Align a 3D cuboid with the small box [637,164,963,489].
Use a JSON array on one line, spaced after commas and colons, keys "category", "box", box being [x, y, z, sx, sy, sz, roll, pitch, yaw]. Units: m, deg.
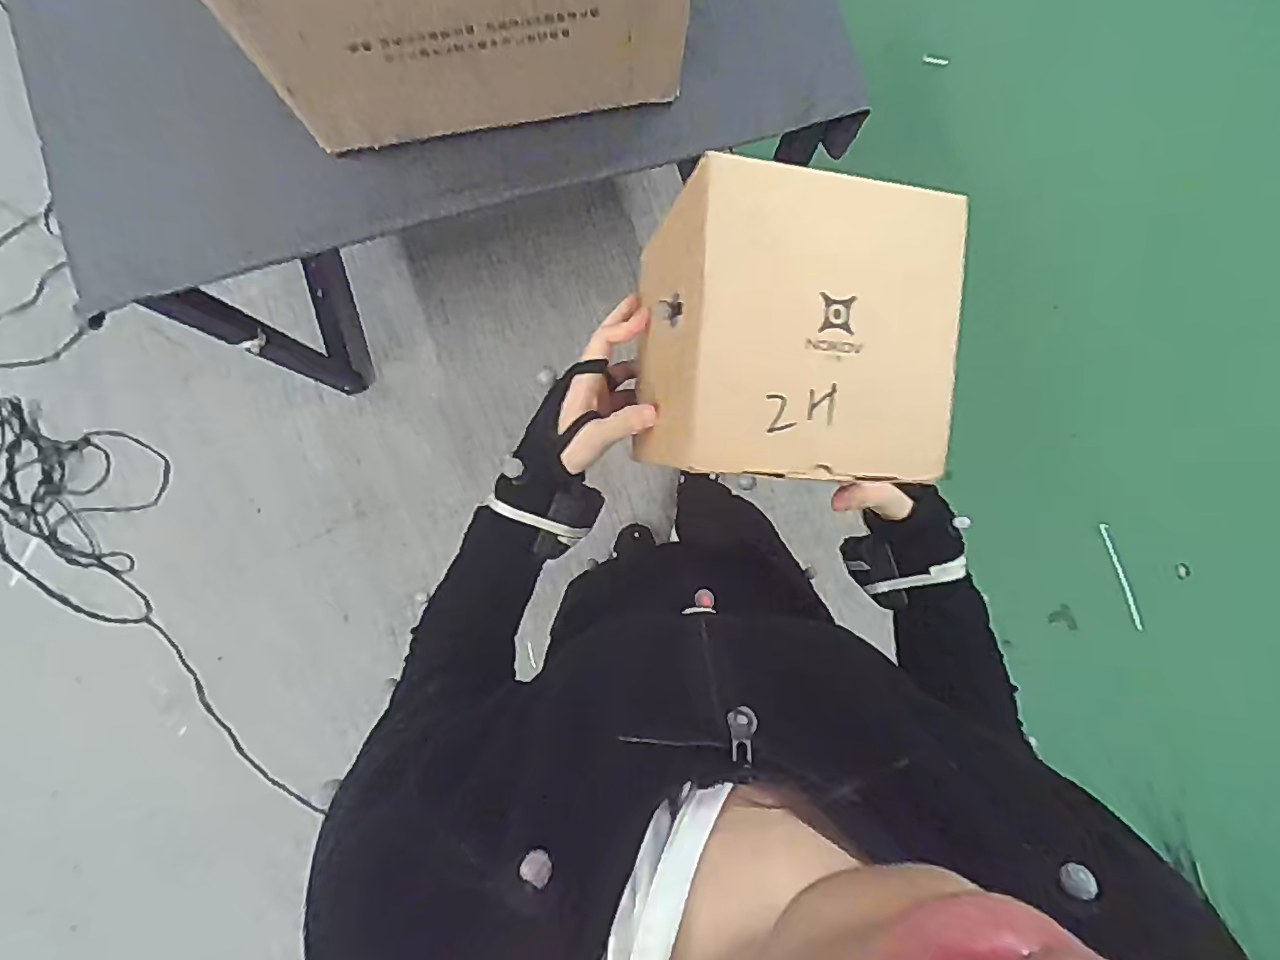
[{"category": "small box", "box": [0.097, -0.091, 0.398, 0.168, 0.176, 0.179, 2, 95, -12]}]
